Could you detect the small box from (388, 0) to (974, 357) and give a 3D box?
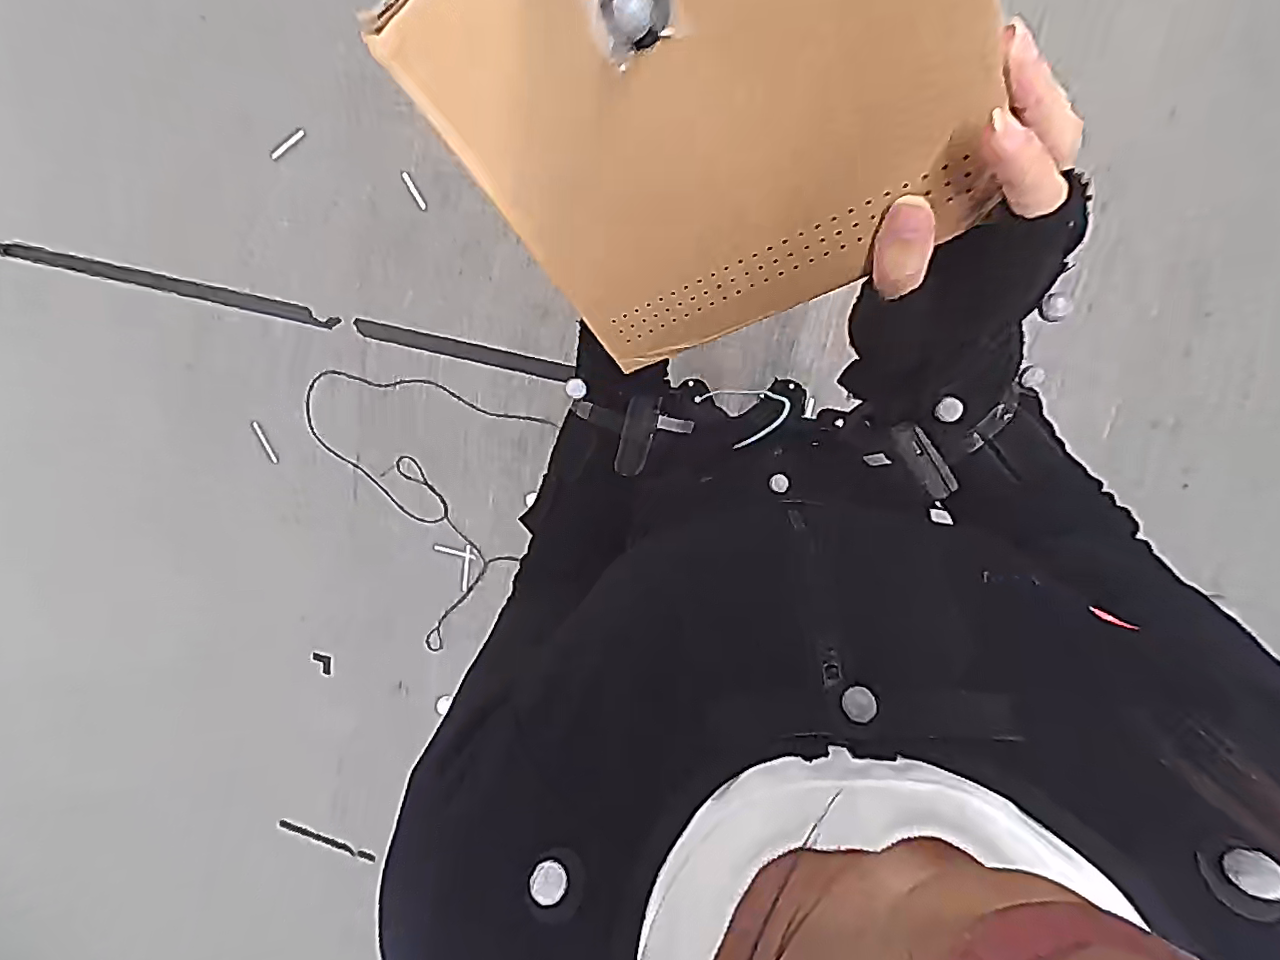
[{"bbox_3d":[0.030,-0.189,0.255,0.179,0.168,0.176,-17,138,26],"label":"small box"}]
